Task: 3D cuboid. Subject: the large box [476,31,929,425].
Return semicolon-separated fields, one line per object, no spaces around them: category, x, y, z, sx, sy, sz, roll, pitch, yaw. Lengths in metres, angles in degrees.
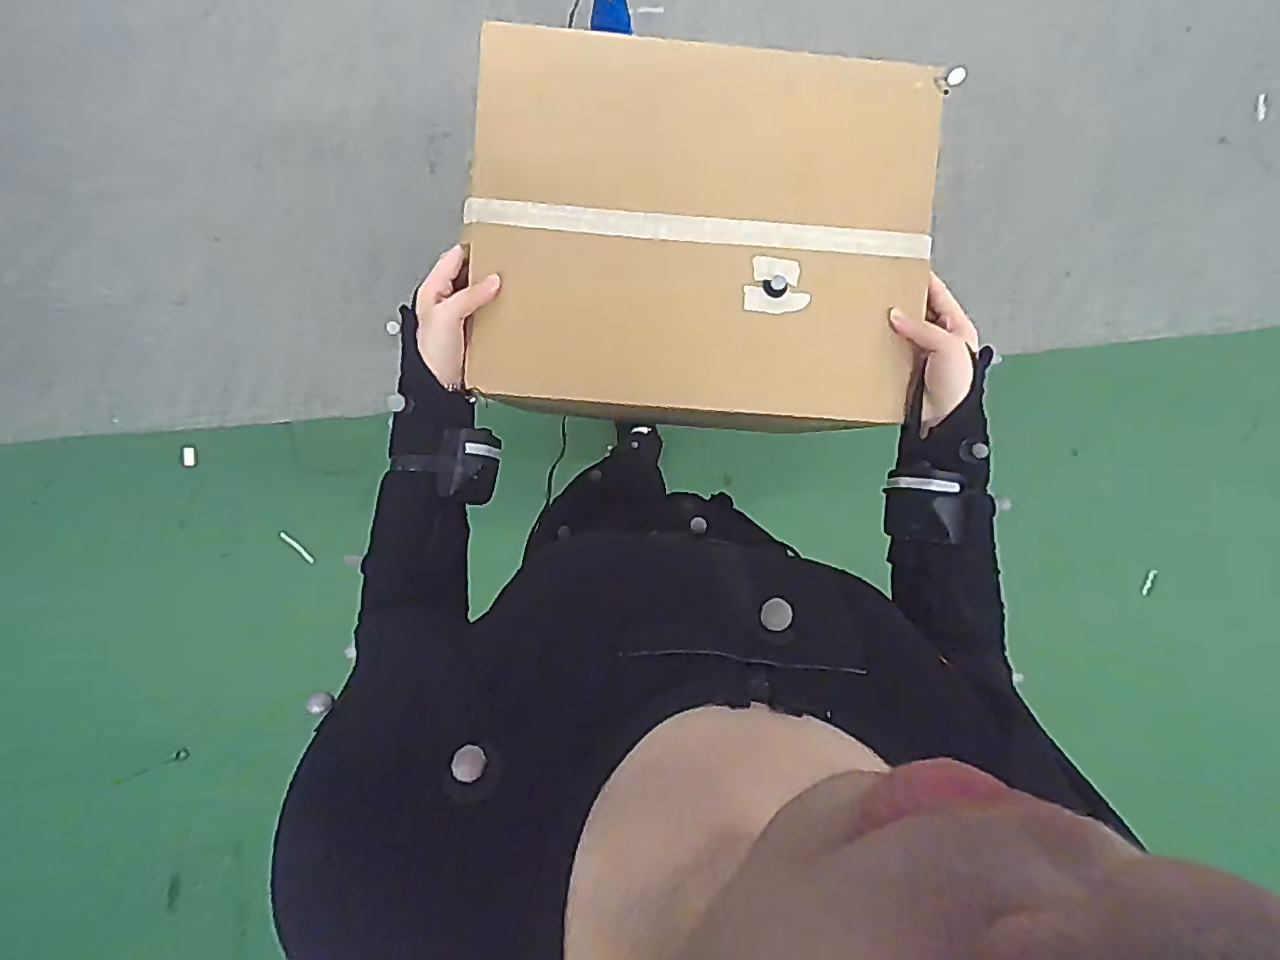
large box;0.048;-0.235;0.632;0.408;0.320;0.320;3;94;-3
